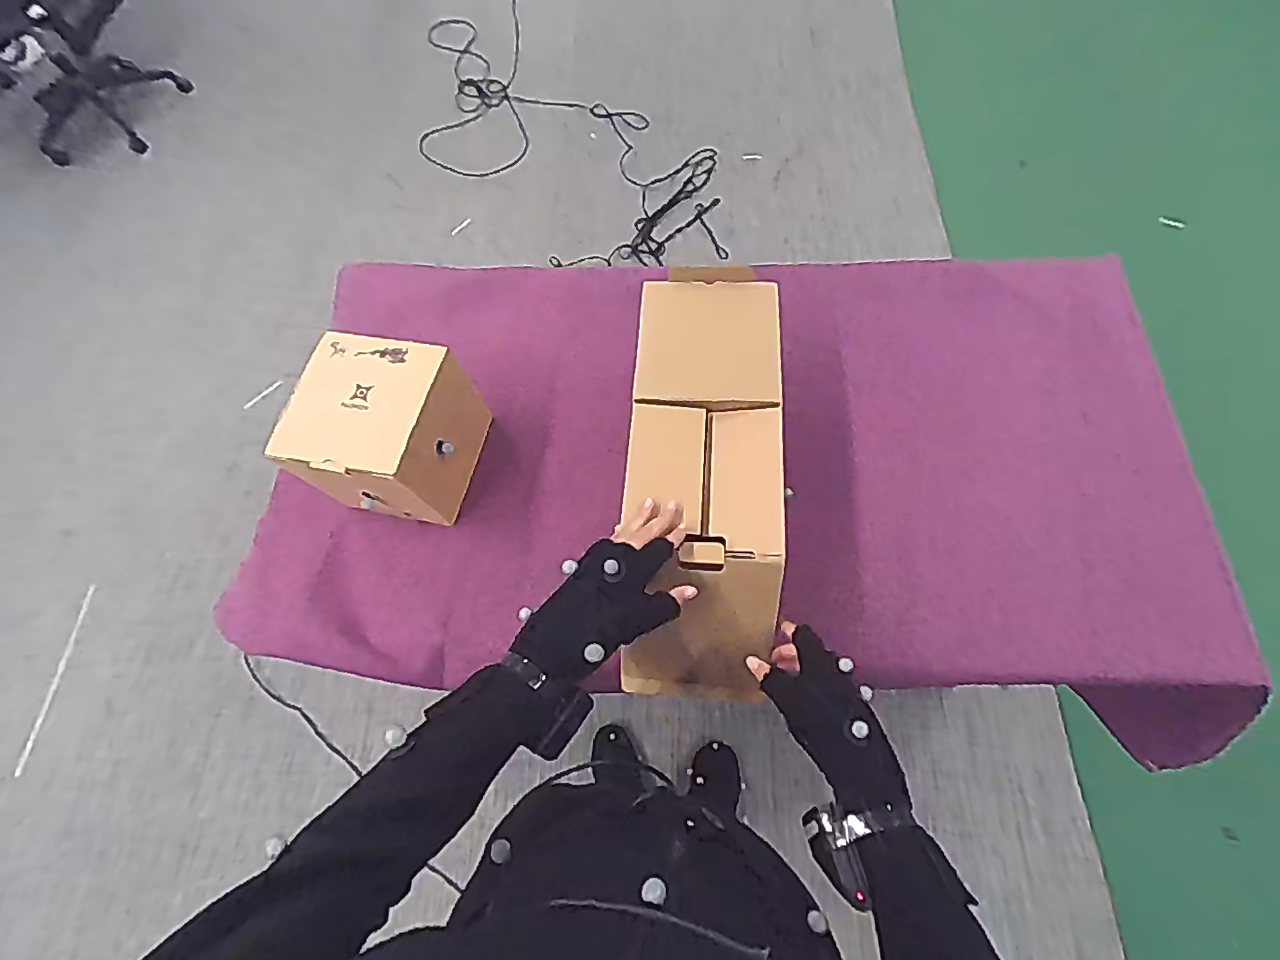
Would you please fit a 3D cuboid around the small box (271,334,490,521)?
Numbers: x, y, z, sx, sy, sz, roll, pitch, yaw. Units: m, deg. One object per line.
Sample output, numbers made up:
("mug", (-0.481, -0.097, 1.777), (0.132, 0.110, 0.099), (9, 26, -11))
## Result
("small box", (-0.314, -0.060, 0.700), (0.168, 0.176, 0.179), (9, 69, 9))
